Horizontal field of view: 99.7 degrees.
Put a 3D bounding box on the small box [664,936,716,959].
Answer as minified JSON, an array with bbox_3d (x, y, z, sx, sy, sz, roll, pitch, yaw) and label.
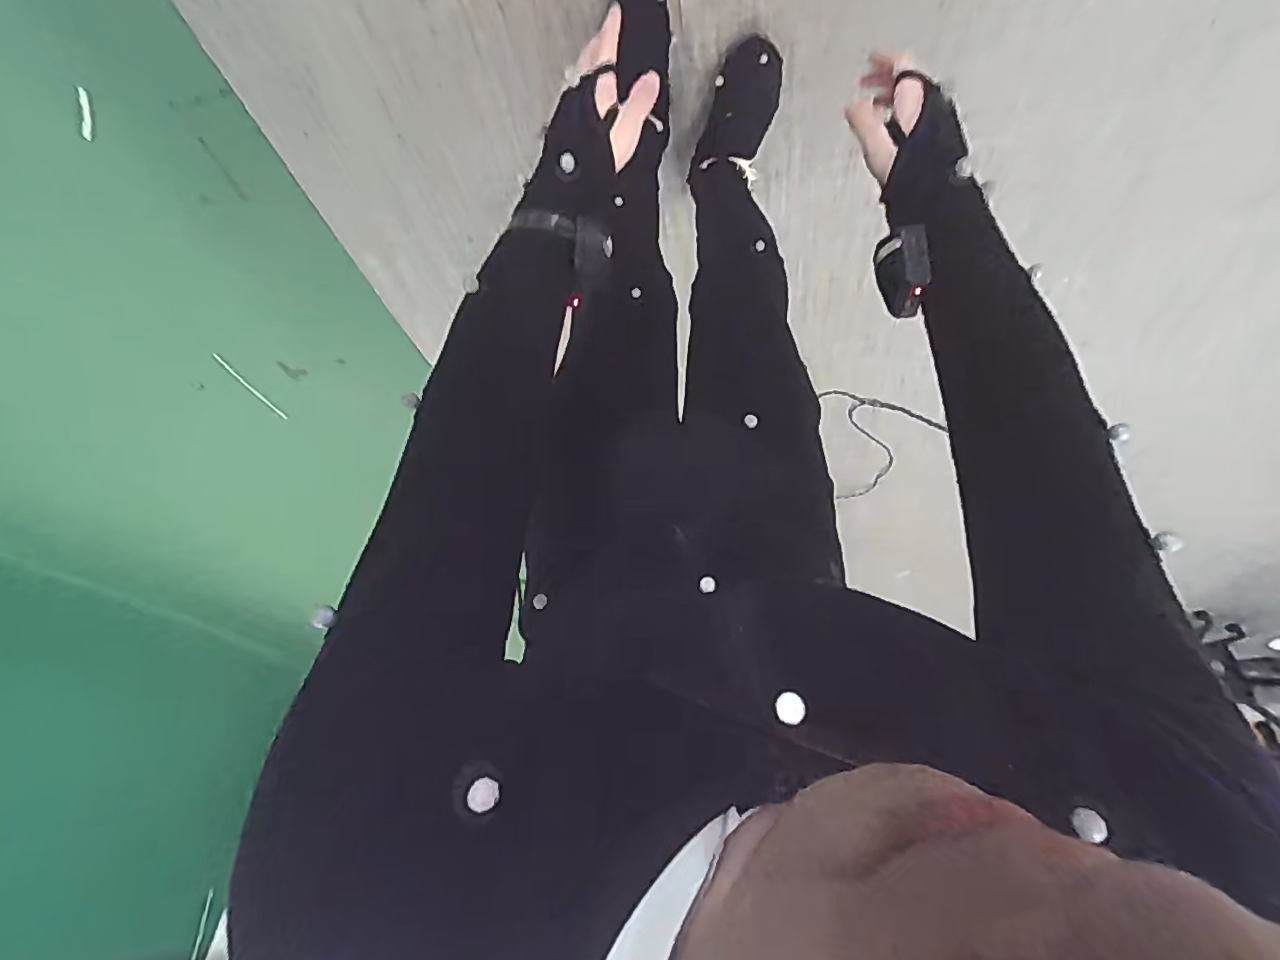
[{"bbox_3d":[0.169,1.638,1.799,0.168,0.176,0.179,-3,147,10],"label":"small box"}]
